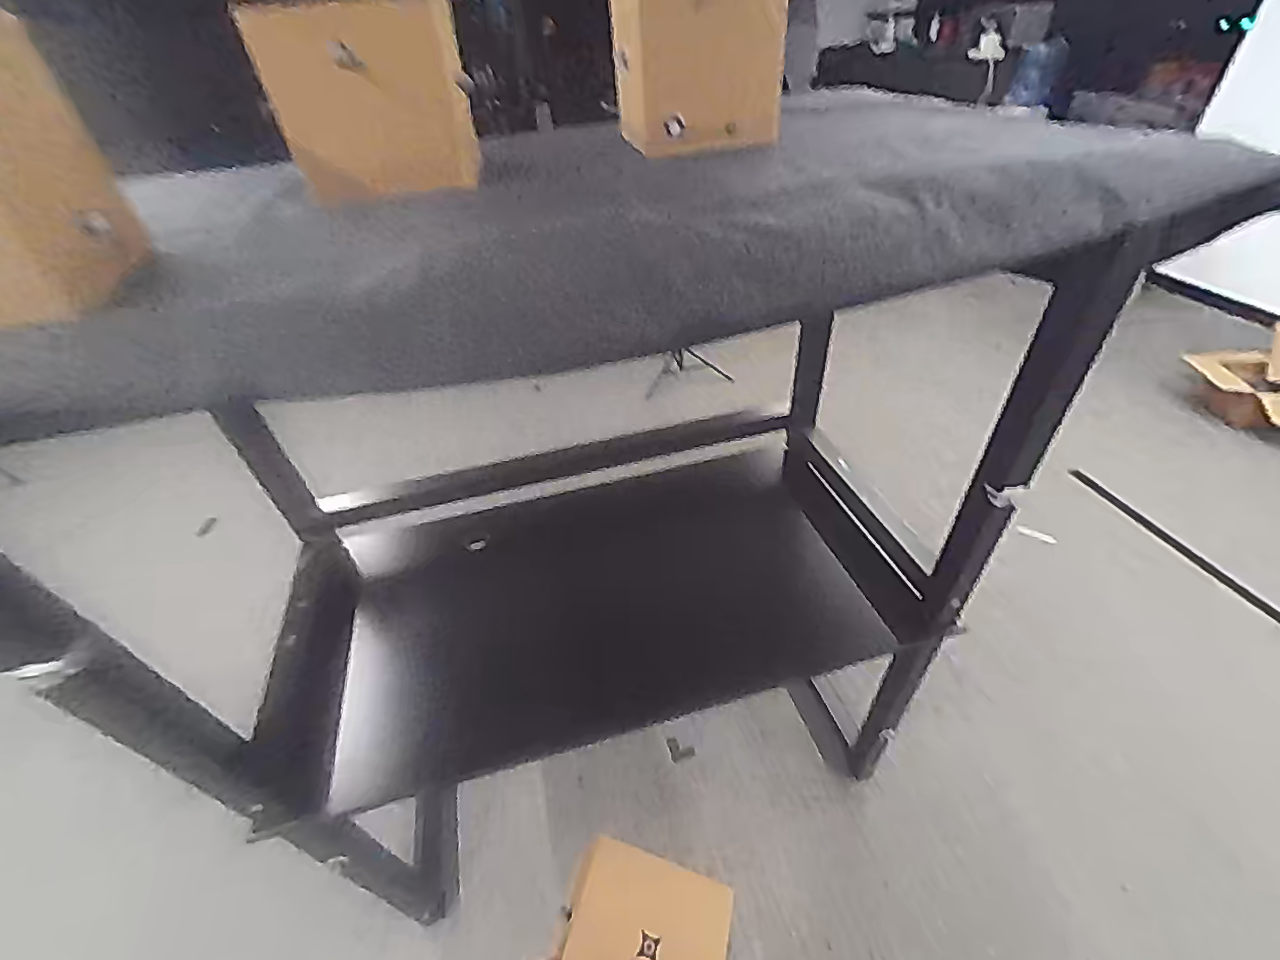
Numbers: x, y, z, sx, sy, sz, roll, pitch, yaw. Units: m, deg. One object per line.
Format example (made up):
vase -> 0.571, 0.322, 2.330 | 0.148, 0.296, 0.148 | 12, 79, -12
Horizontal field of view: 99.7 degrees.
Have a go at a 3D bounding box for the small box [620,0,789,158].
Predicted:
small box -> 0.075, -0.511, 0.671 | 0.168, 0.176, 0.179 | -10, 41, -6

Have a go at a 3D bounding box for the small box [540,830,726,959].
small box -> -0.019, 0.535, 0.609 | 0.168, 0.176, 0.179 | 21, 46, 3

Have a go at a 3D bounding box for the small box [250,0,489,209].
small box -> -0.275, -0.422, 0.605 | 0.179, 0.176, 0.168 | -9, 42, -4
